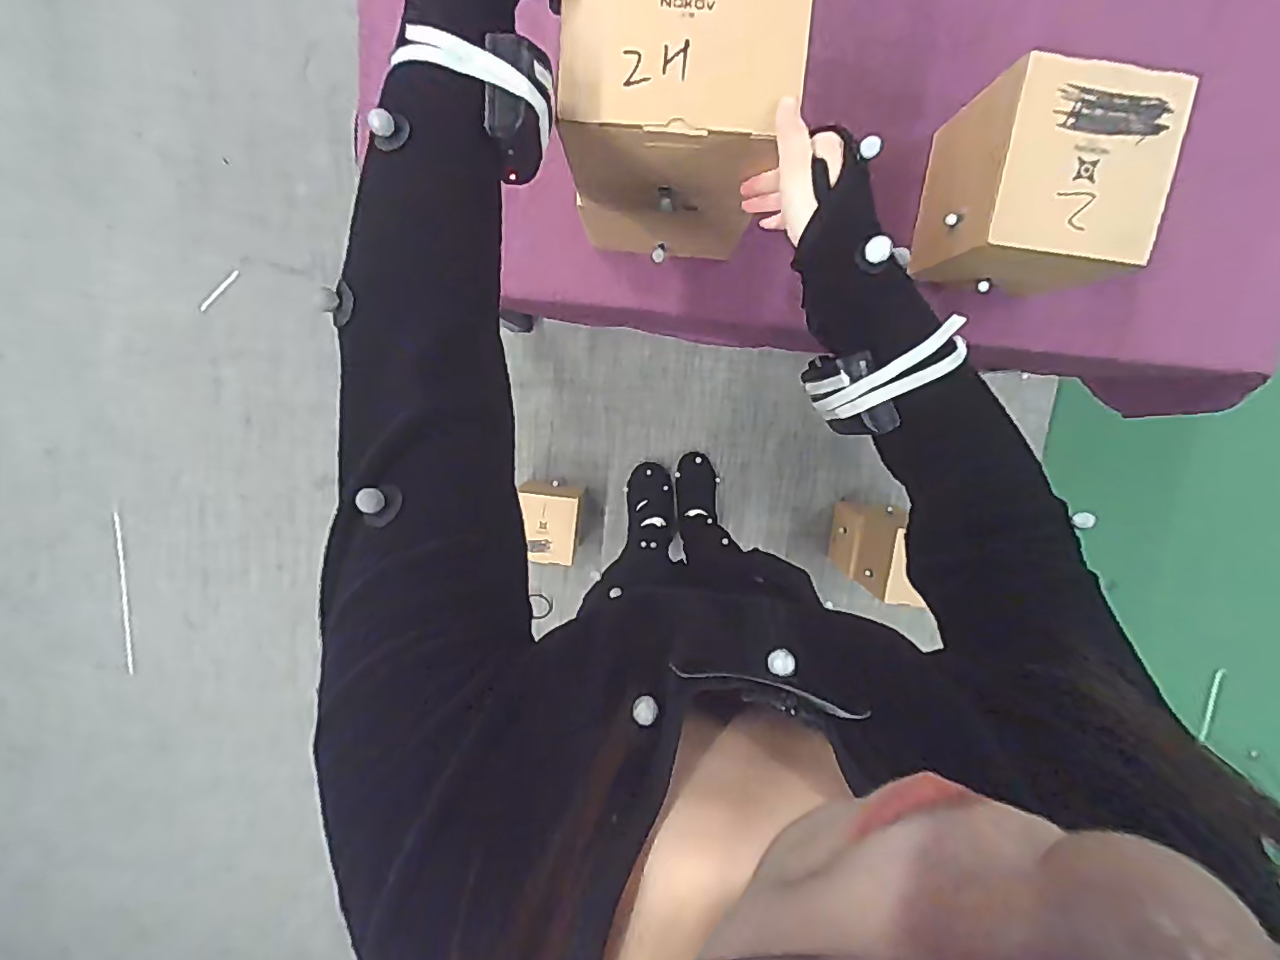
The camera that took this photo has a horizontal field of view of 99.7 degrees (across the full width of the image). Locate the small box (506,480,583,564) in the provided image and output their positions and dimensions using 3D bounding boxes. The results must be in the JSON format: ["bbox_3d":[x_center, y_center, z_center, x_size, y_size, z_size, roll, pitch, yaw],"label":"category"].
[{"bbox_3d":[-0.245,0.105,1.417,0.168,0.176,0.179,6,98,-1],"label":"small box"}]

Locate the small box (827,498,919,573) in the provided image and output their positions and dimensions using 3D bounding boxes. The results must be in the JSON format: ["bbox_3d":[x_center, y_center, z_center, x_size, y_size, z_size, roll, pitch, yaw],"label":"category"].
[{"bbox_3d":[0.612,0.146,1.428,0.179,0.176,0.168,3,100,-1],"label":"small box"}]

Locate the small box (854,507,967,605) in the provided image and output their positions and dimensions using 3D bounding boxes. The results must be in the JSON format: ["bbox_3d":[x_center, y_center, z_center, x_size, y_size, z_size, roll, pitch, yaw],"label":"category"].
[{"bbox_3d":[0.622,0.173,1.268,0.168,0.176,0.179,6,99,-3],"label":"small box"}]

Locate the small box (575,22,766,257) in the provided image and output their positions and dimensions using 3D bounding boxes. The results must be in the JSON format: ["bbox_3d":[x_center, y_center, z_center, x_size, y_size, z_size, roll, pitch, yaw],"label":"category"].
[{"bbox_3d":[0.025,-0.355,0.601,0.179,0.176,0.168,4,99,-2],"label":"small box"}]
